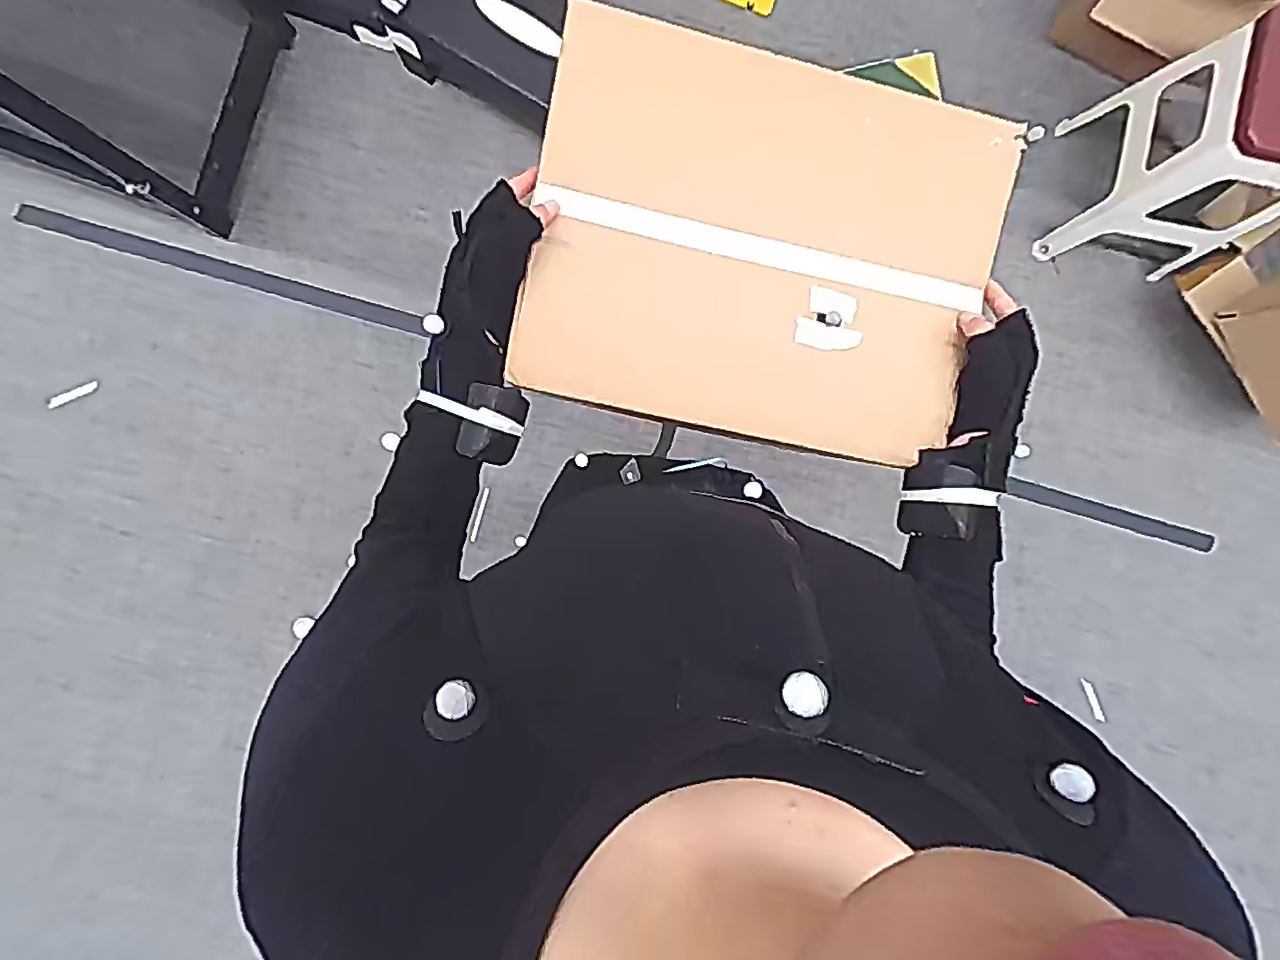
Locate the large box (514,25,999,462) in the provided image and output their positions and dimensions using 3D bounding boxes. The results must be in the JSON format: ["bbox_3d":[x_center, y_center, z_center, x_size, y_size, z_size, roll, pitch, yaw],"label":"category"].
[{"bbox_3d":[0.092,-0.216,0.632,0.408,0.320,0.320,11,97,-7],"label":"large box"}]
